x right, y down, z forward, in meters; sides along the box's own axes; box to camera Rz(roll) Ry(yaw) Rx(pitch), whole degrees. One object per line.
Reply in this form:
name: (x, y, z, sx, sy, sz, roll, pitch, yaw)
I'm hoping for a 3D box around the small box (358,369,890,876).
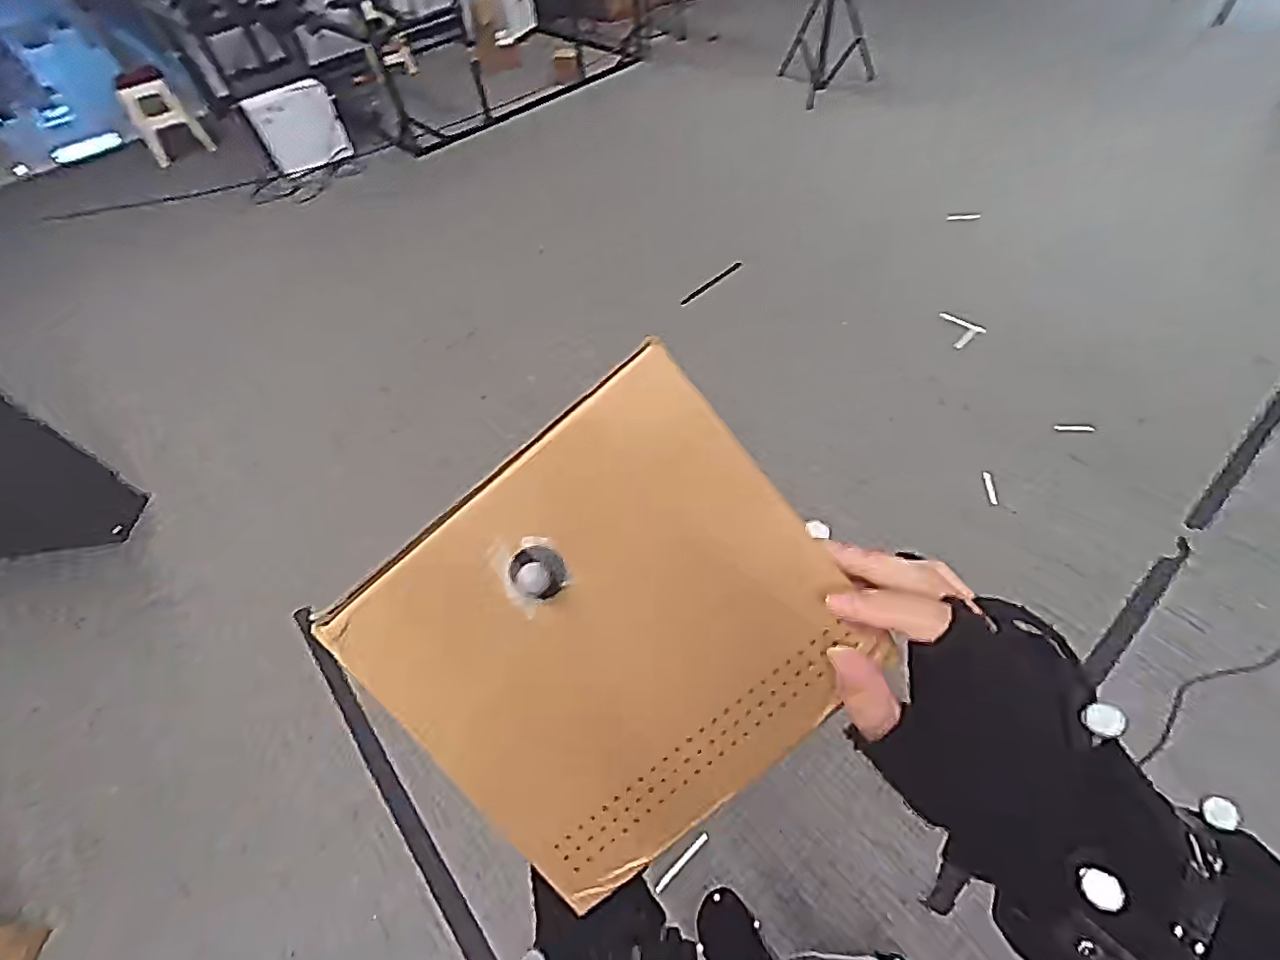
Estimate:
small box: (-0.004, 0.064, 0.308, 0.179, 0.168, 0.176, -39, 97, 2)
